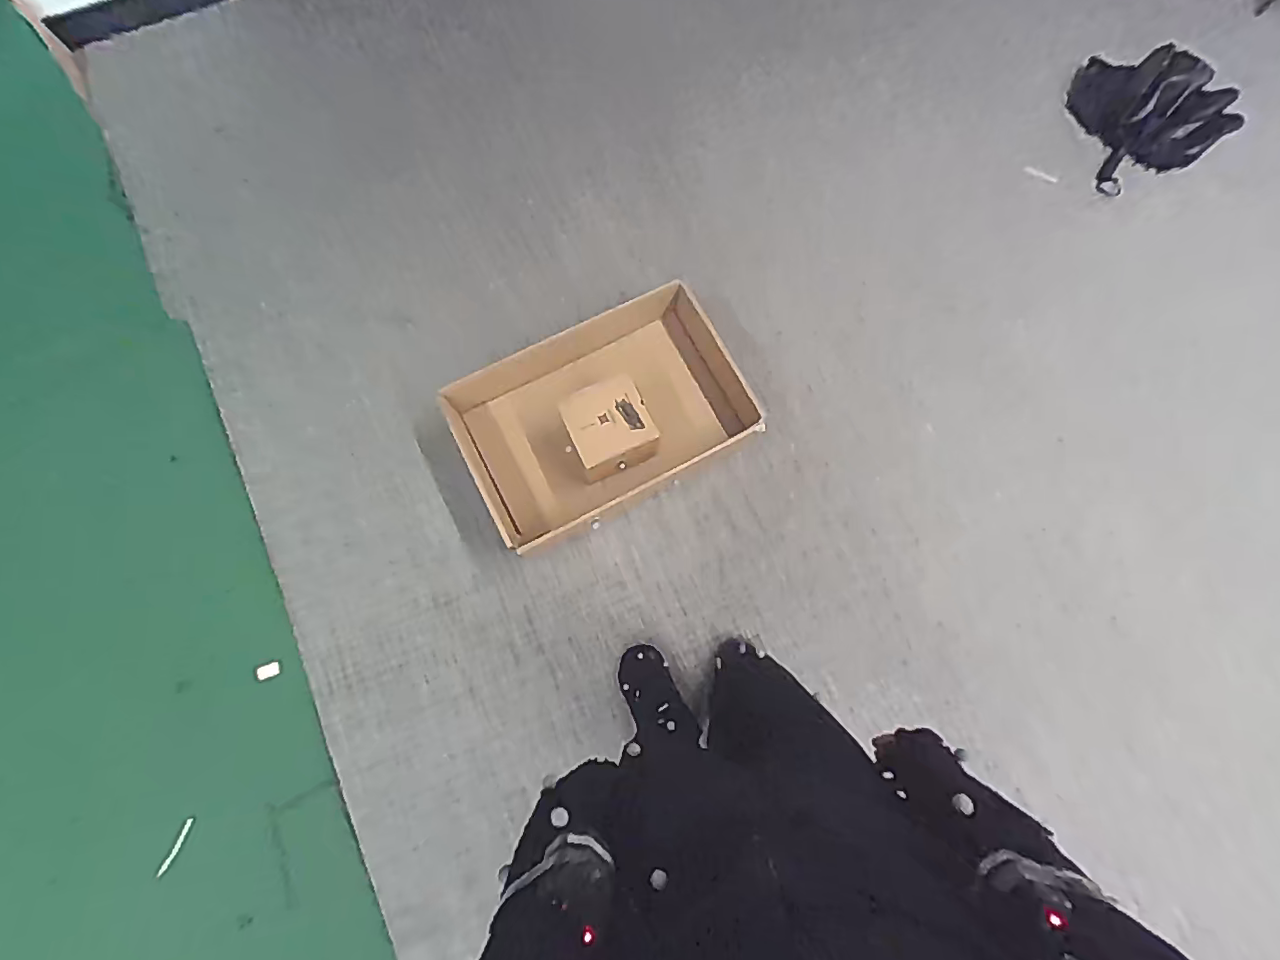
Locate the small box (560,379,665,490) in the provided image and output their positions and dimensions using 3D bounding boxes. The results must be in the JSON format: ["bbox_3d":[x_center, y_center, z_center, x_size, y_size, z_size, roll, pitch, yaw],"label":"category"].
[{"bbox_3d":[-0.062,-0.096,1.220,0.179,0.176,0.168,-27,79,-8],"label":"small box"}]
